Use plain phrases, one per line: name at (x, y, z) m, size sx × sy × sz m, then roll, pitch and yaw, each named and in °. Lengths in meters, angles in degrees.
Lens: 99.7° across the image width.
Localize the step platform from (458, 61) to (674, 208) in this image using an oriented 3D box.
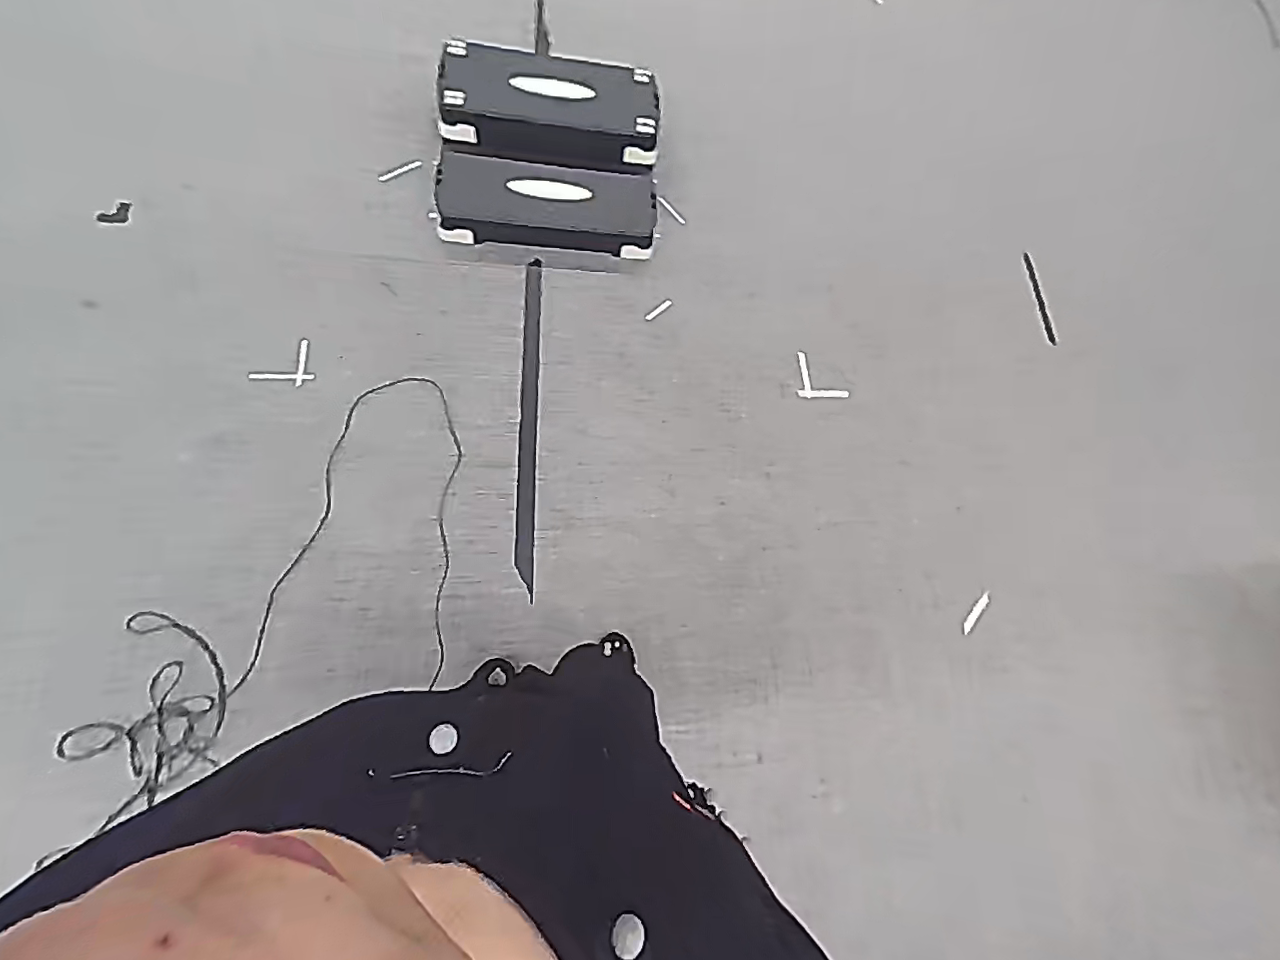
step platform at (-0.231, -1.113, 1.753) m, size 0.684 × 0.204 × 0.286 m, roll 6°, pitch 72°, yaw -9°
